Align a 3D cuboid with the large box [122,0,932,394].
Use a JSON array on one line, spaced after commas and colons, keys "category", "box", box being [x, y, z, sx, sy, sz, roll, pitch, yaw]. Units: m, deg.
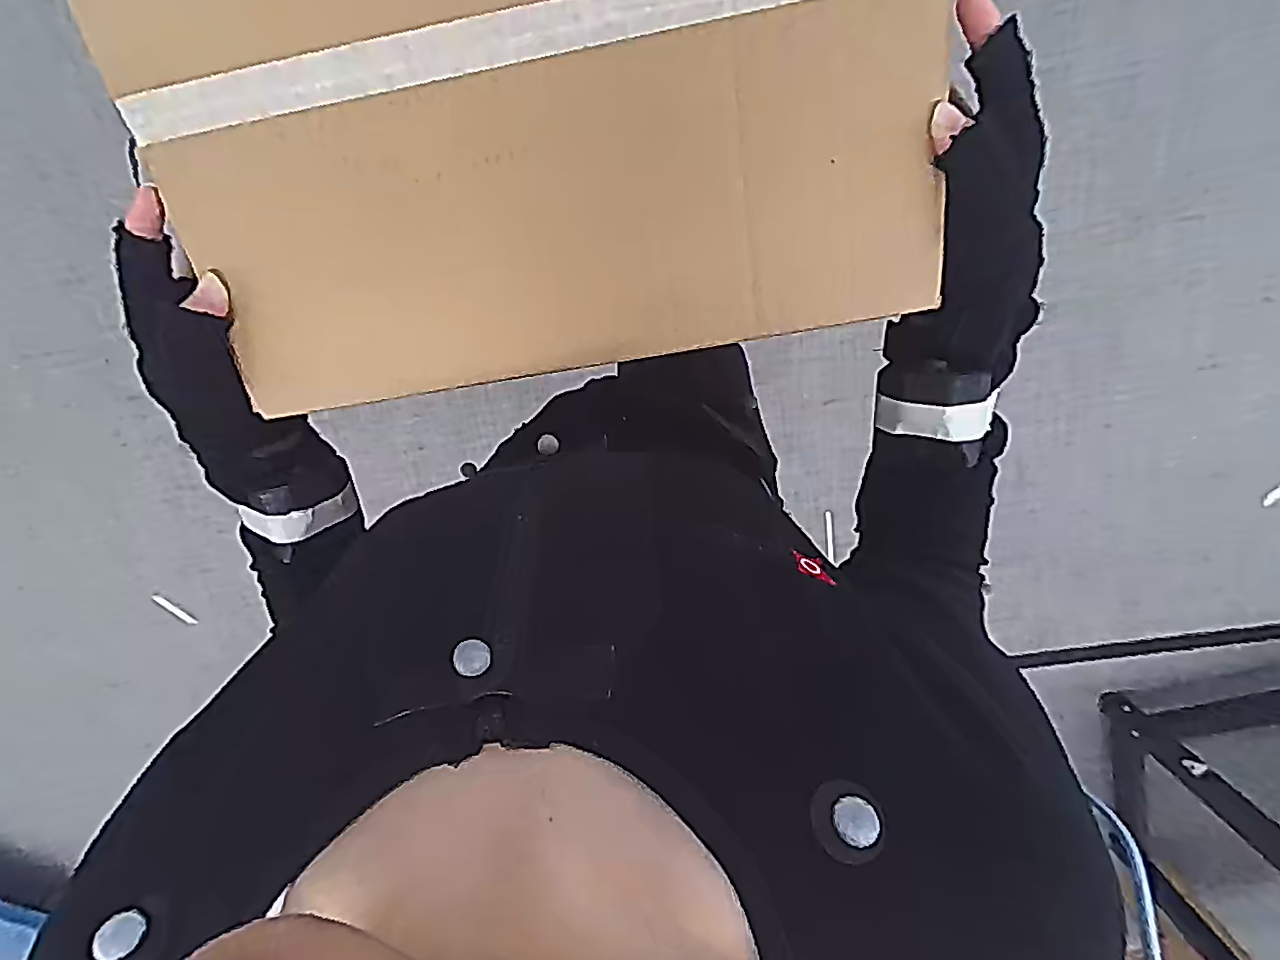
[{"category": "large box", "box": [-0.055, -0.277, 0.409, 0.408, 0.320, 0.320, -9, 111, 5]}]
